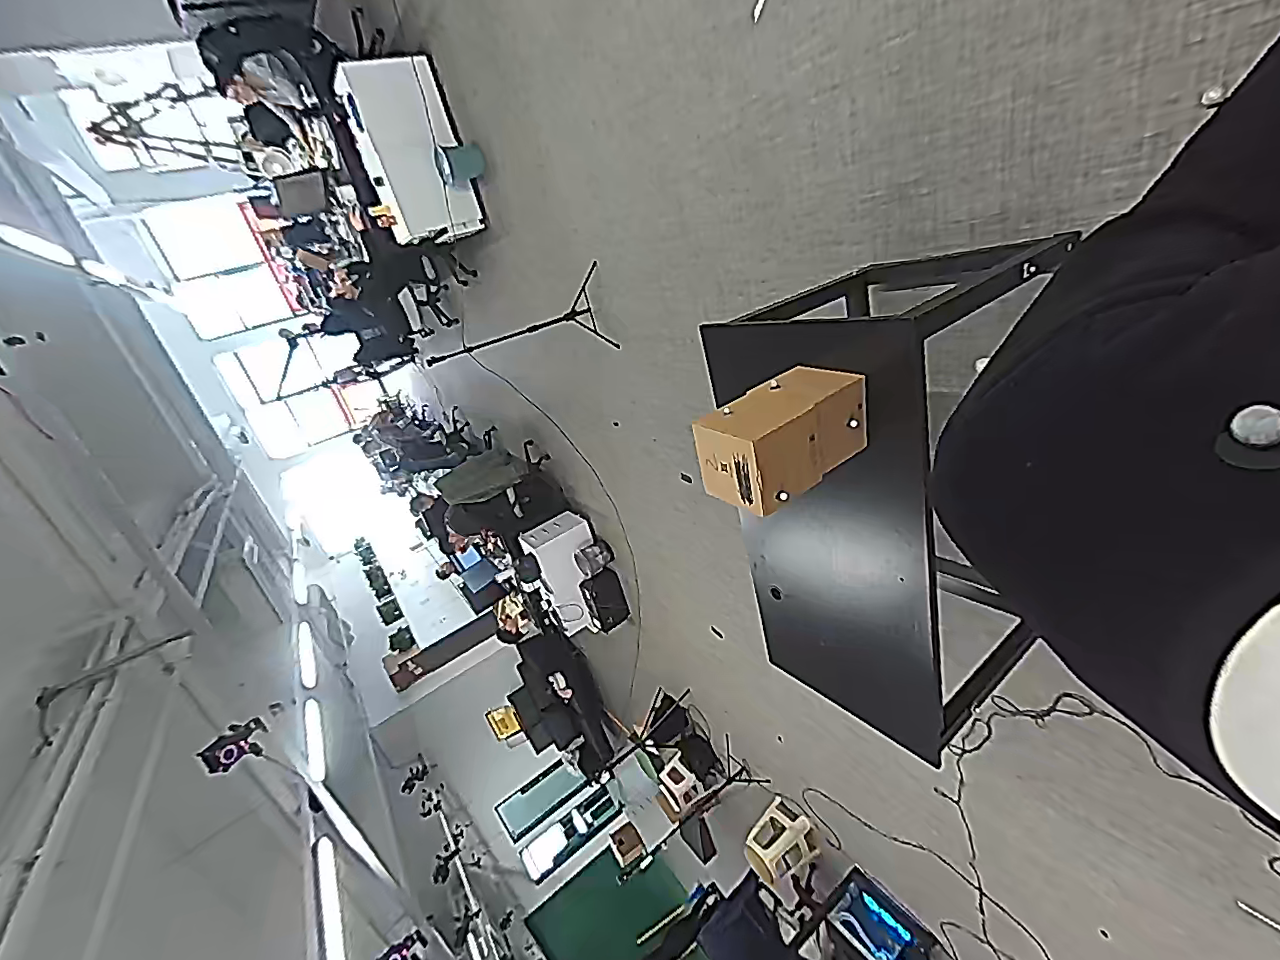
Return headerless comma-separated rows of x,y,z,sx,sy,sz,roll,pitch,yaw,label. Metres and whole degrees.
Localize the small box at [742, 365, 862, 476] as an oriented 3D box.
0.347,-0.136,1.155,0.179,0.176,0.168,27,139,51,small box
